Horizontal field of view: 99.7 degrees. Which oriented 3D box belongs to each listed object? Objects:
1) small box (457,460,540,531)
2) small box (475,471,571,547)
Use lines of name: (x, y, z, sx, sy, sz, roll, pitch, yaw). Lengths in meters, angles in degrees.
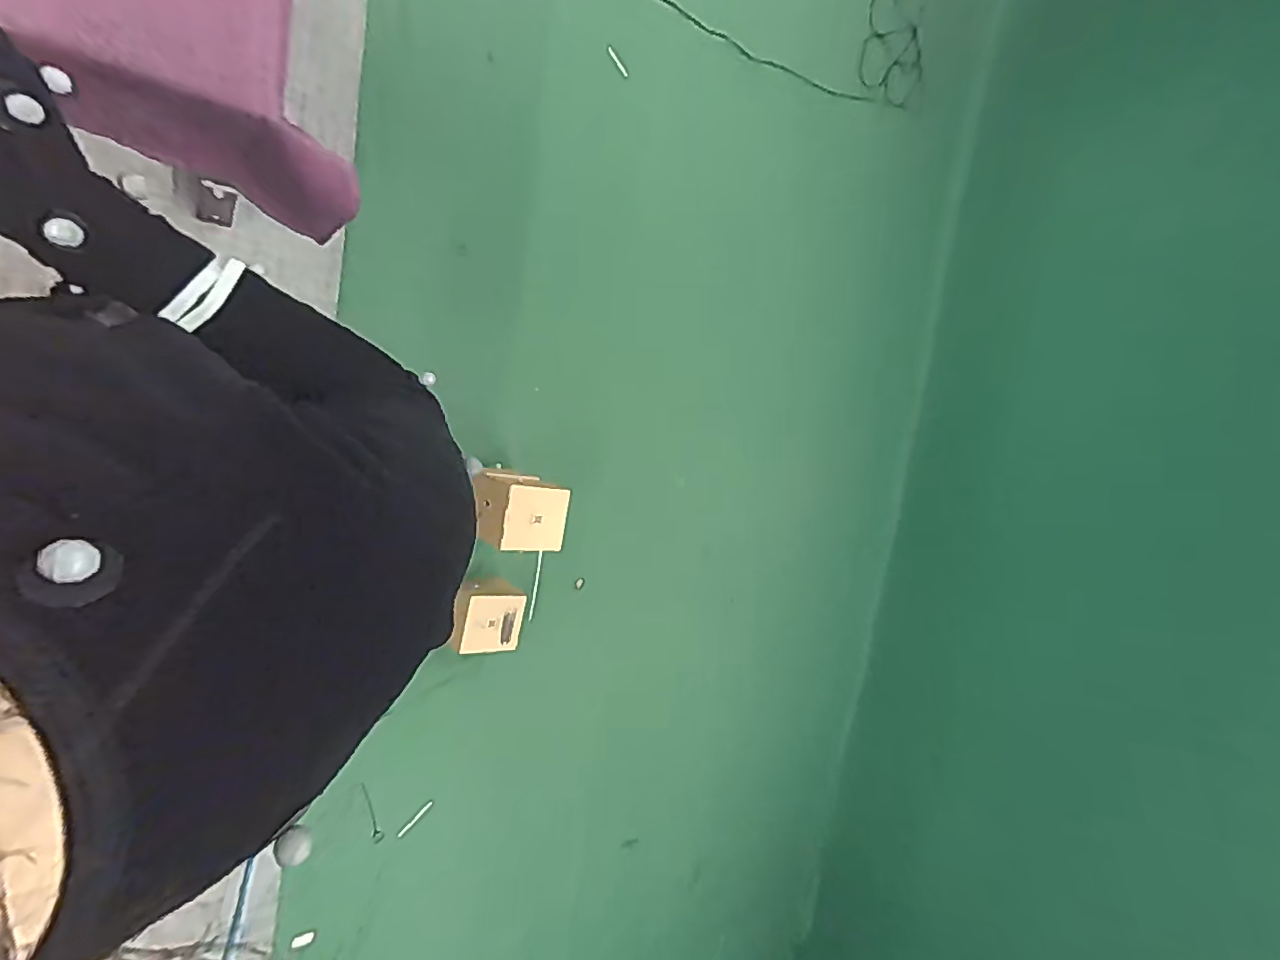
small box: (-0.411, 0.046, 1.553, 0.168, 0.176, 0.179, 6, 95, -40)
small box: (-0.311, 0.075, 1.427, 0.179, 0.176, 0.168, 7, 95, -40)
